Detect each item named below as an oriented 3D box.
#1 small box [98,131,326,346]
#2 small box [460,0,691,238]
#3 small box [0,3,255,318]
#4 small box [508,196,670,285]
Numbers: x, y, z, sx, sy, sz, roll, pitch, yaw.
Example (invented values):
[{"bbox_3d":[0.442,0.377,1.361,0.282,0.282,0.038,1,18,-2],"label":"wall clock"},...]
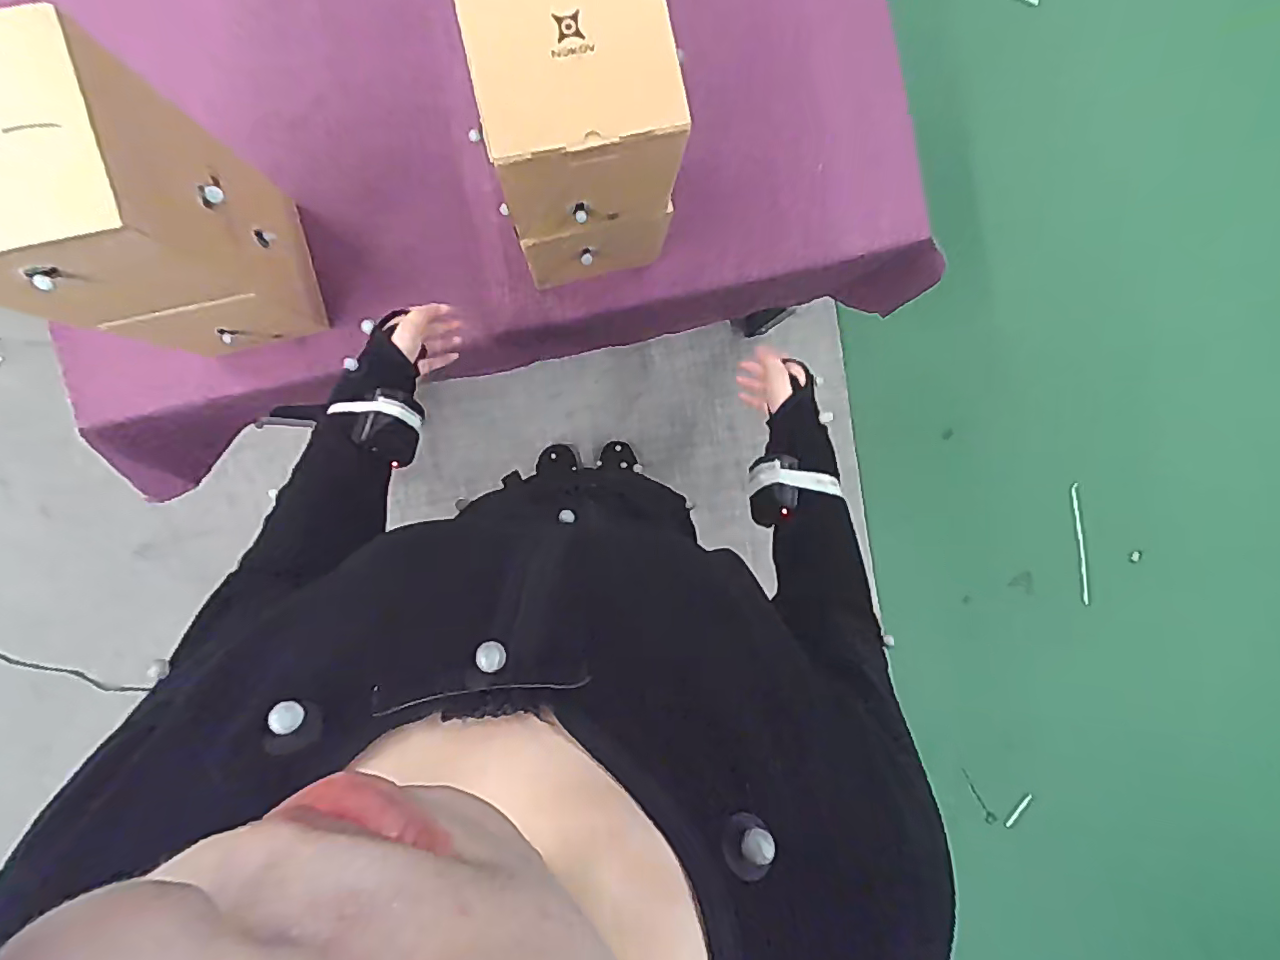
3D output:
[{"bbox_3d":[-0.507,-0.265,0.640,0.168,0.176,0.179,-13,94,-5],"label":"small box"},{"bbox_3d":[-0.062,-0.357,0.508,0.168,0.176,0.179,-13,95,-4],"label":"small box"},{"bbox_3d":[-0.494,-0.255,0.476,0.179,0.176,0.168,-14,95,-5],"label":"small box"},{"bbox_3d":[-0.071,-0.360,0.671,0.179,0.176,0.168,-14,94,-3],"label":"small box"}]
